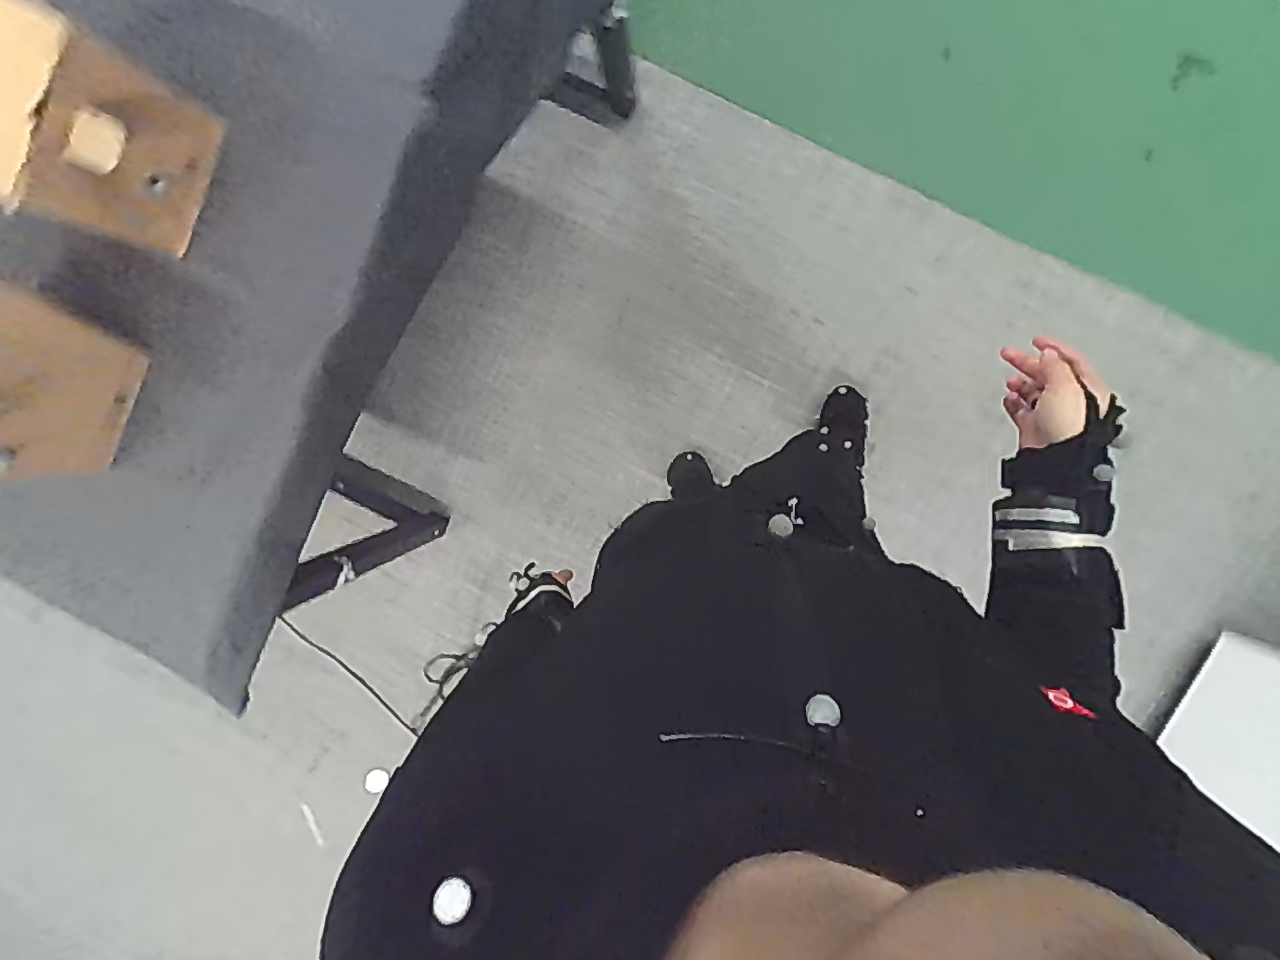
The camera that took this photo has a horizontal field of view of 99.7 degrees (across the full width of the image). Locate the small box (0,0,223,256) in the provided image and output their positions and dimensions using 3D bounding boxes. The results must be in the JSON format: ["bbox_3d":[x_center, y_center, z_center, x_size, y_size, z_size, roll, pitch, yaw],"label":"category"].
[{"bbox_3d":[-0.598,-0.360,0.561,0.179,0.176,0.168,26,97,2],"label":"small box"}]
